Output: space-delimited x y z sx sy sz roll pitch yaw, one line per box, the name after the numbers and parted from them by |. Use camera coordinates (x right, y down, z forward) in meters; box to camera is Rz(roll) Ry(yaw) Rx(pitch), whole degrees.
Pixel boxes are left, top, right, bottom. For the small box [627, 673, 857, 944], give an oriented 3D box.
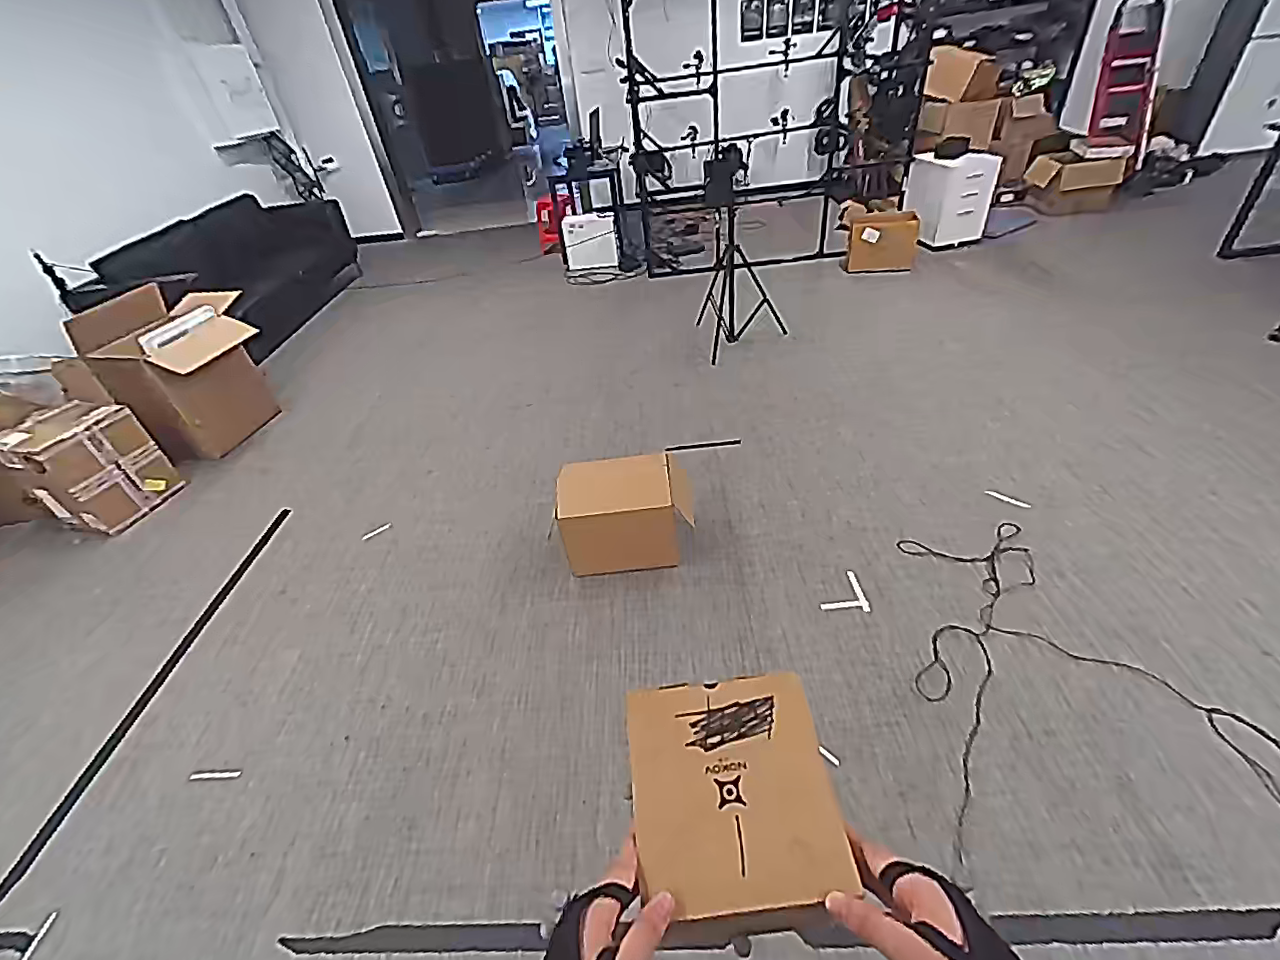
0.080 0.311 0.514 0.168 0.176 0.179 -8 45 0 | small box
